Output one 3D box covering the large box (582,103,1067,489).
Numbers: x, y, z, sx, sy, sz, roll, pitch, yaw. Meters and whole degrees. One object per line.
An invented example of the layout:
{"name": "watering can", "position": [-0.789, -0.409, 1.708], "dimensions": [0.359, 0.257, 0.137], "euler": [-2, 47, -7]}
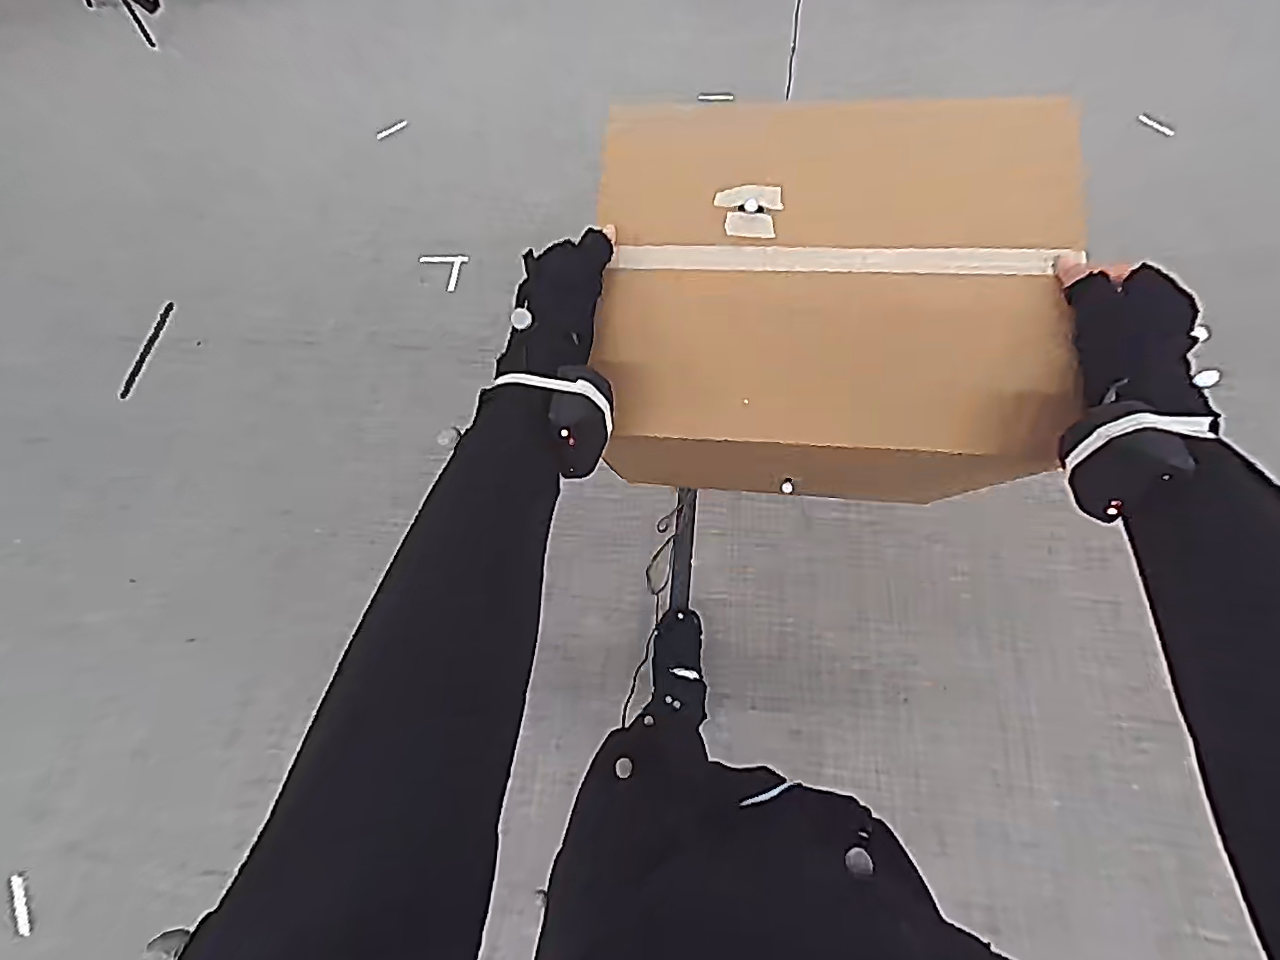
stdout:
{"name": "large box", "position": [0.176, -0.165, 0.621], "dimensions": [0.408, 0.320, 0.320], "euler": [4, 81, 8]}
